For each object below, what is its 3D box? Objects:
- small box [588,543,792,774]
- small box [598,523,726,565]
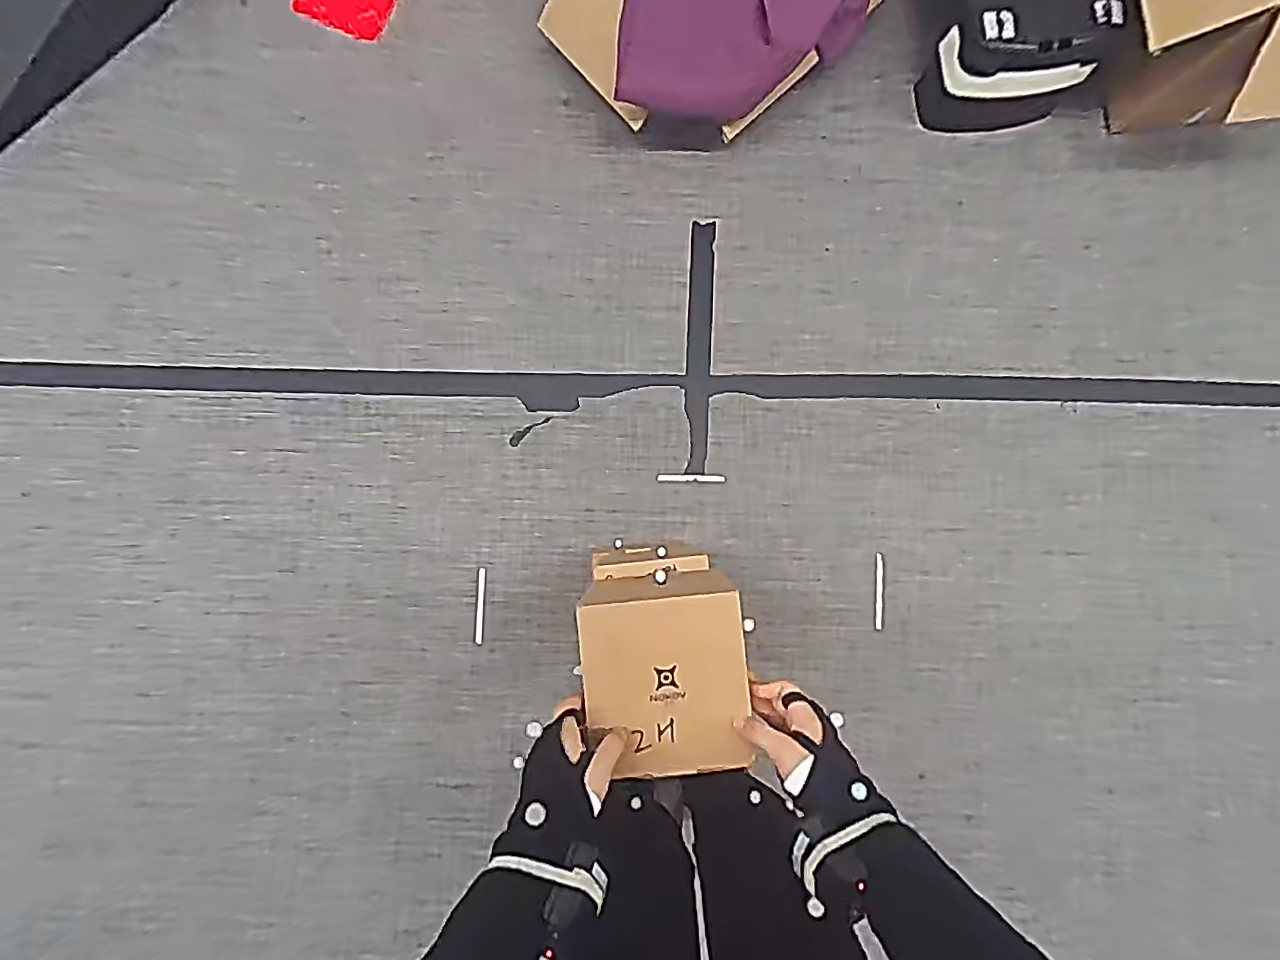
[{"bbox_3d":[0.042,0.159,0.540,0.168,0.176,0.179,-5,90,1],"label":"small box"},{"bbox_3d":[0.035,0.158,0.761,0.168,0.176,0.179,-6,88,-1],"label":"small box"}]
